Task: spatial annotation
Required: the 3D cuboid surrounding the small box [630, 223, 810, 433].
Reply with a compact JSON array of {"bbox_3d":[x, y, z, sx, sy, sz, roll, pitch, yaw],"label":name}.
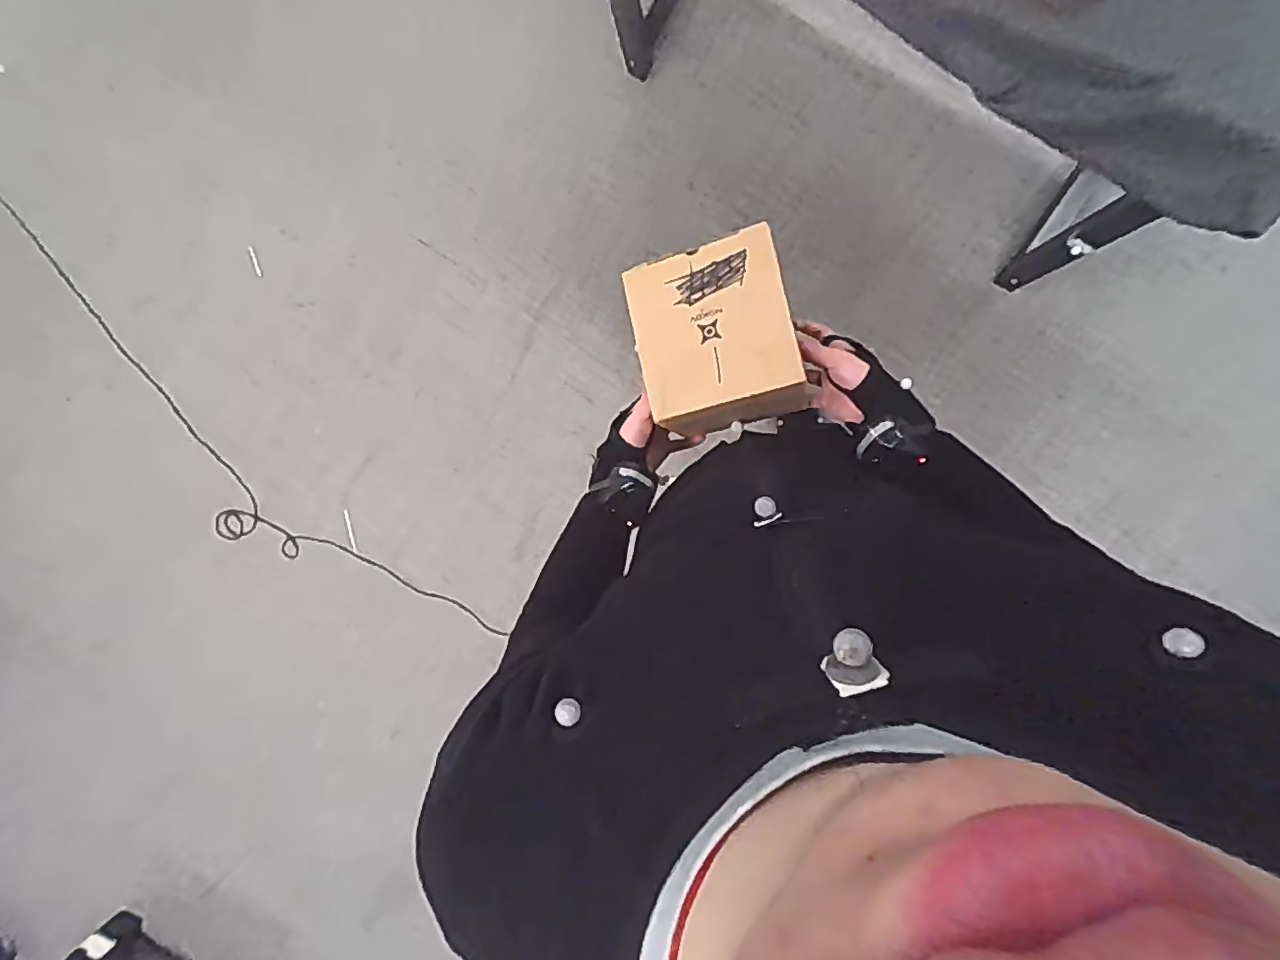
[{"bbox_3d":[0.103,-0.165,0.651,0.168,0.176,0.179,-13,85,17],"label":"small box"}]
